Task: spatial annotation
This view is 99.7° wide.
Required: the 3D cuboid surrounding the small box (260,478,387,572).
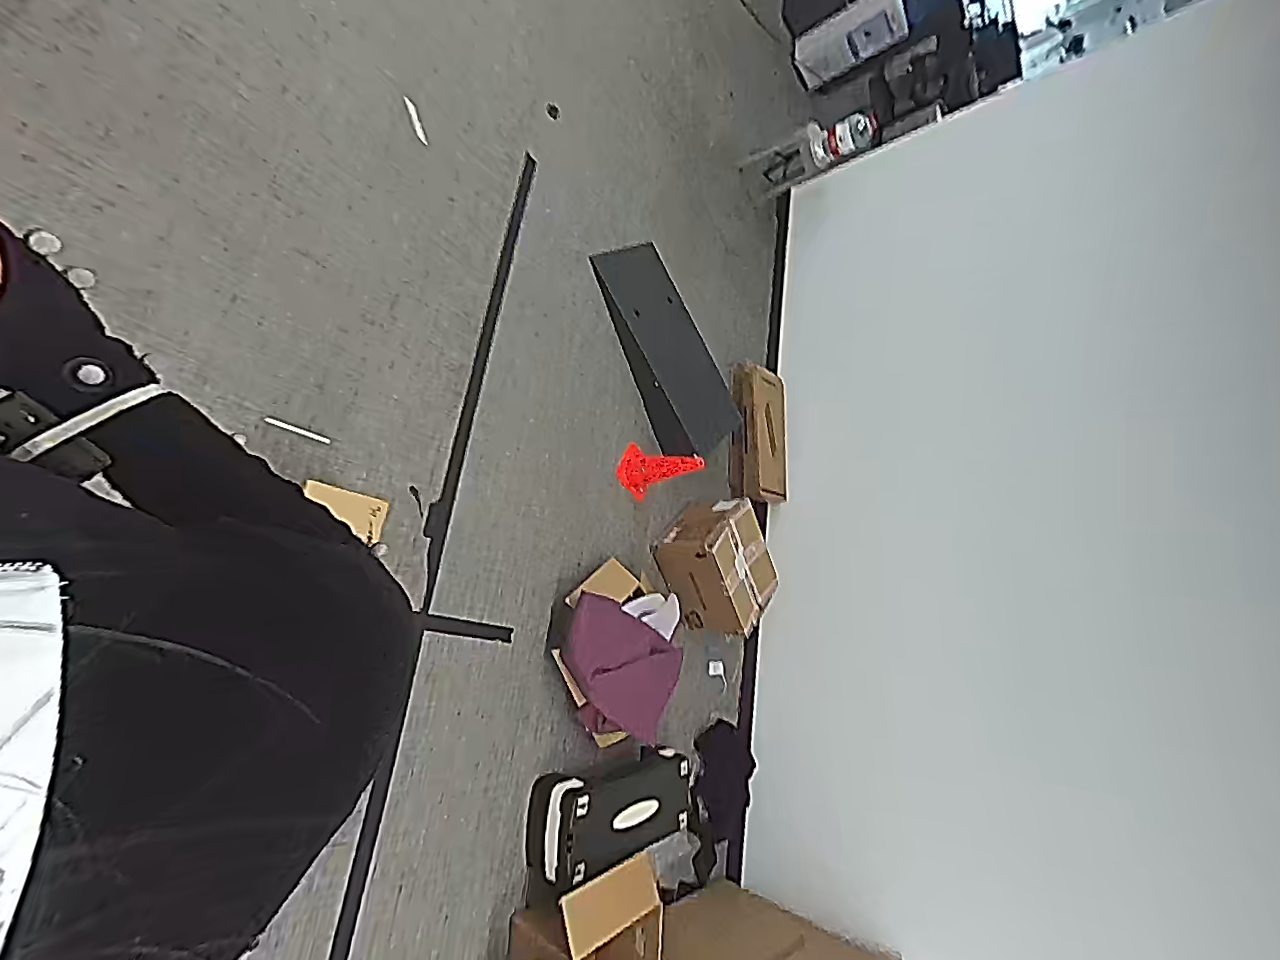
[{"bbox_3d":[-0.700,0.108,1.193,0.179,0.176,0.168,26,64,-45],"label":"small box"}]
